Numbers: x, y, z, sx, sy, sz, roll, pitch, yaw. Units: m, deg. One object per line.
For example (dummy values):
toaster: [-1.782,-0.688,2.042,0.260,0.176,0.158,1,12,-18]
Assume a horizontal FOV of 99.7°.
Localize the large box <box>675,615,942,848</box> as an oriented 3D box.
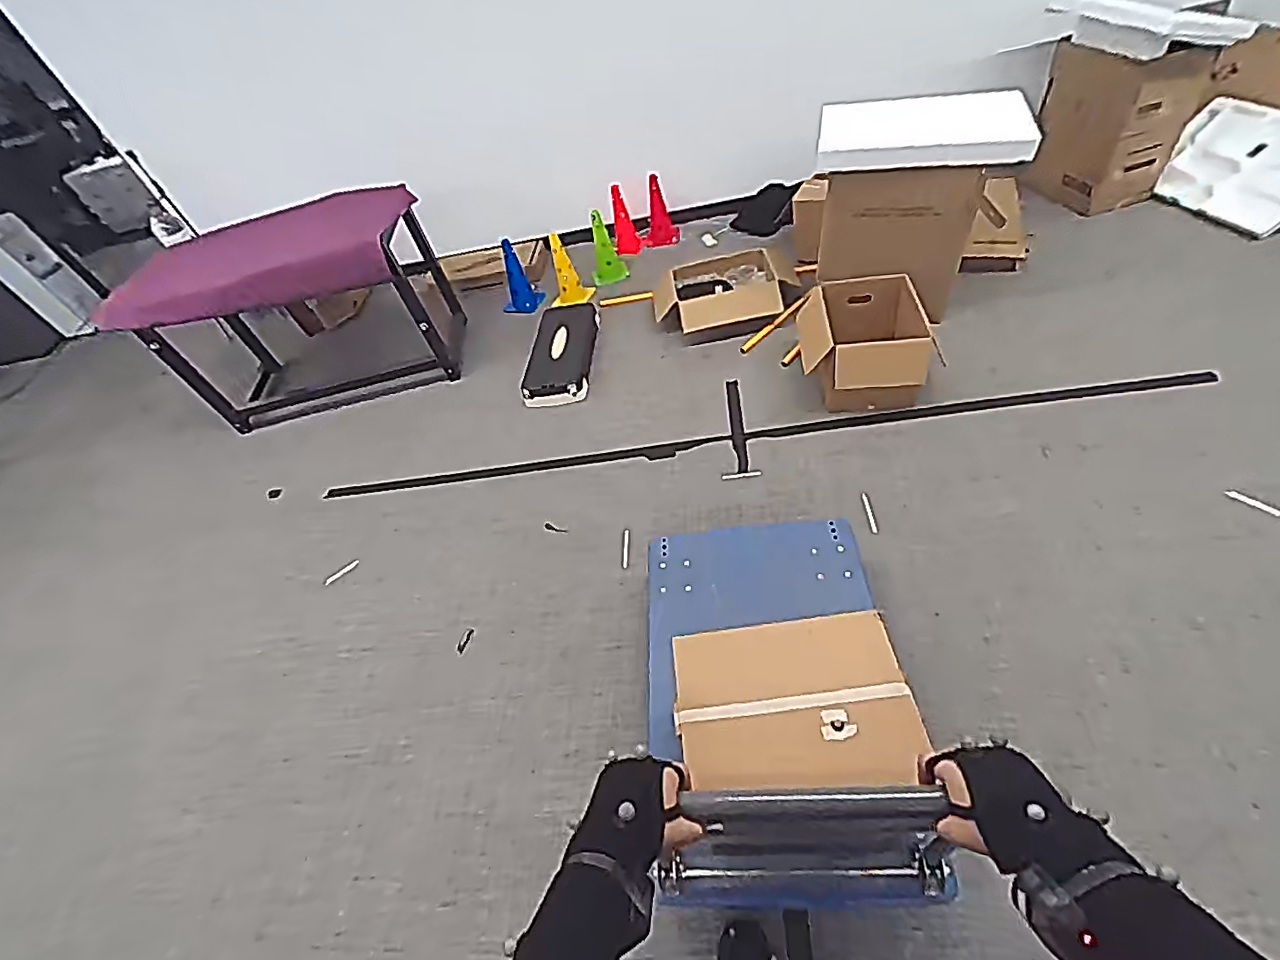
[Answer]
large box: [0.297,0.505,1.073,0.408,0.320,0.320,-9,48,5]
